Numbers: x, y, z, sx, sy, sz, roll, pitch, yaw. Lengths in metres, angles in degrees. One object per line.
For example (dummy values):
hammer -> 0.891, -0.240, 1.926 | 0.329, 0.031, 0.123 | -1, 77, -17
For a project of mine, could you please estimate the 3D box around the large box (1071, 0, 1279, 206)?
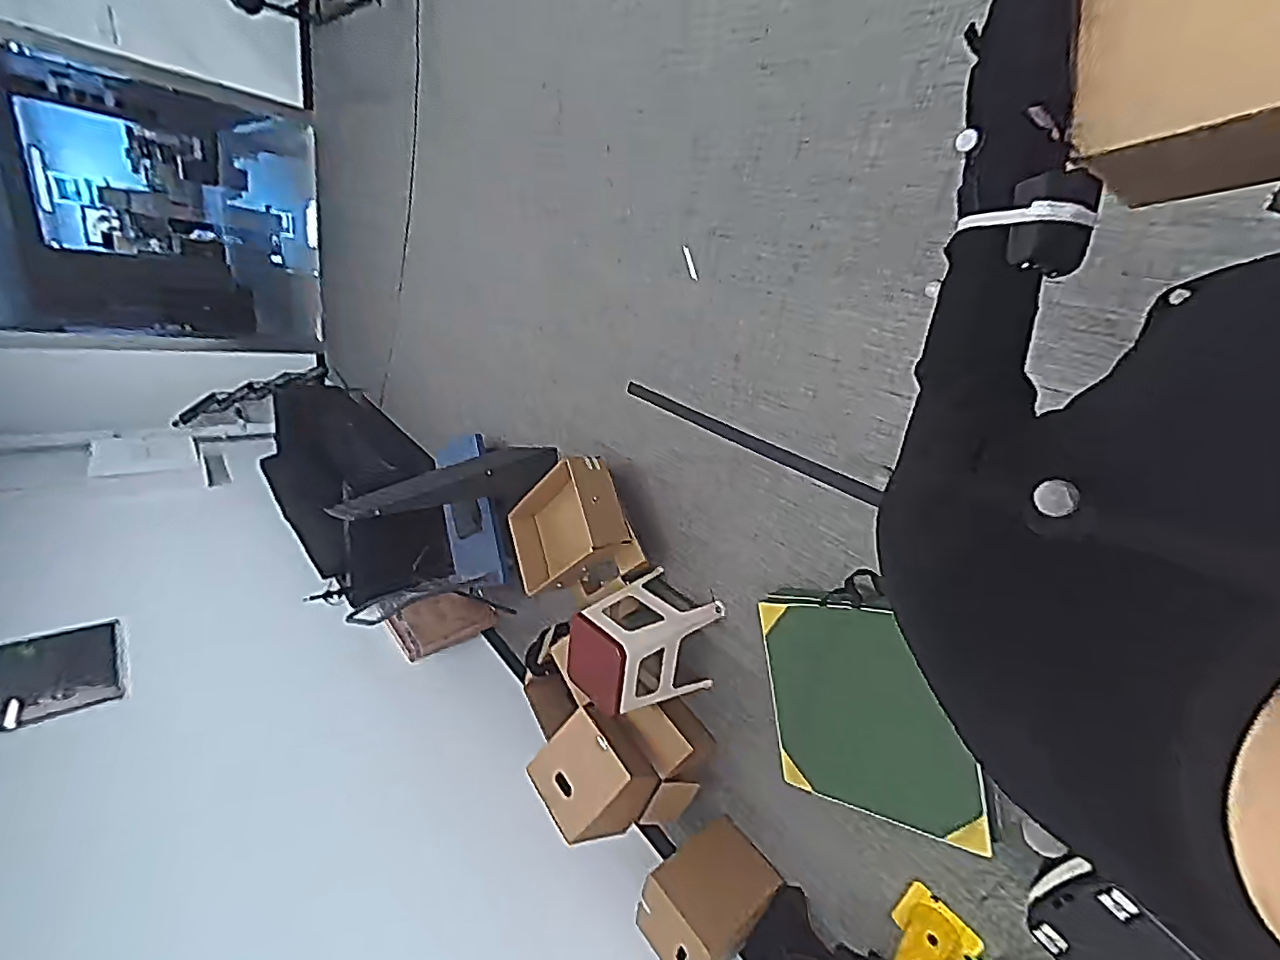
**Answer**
large box -> 0.563, -0.408, 0.344 | 0.408, 0.320, 0.320 | 9, 109, 47
